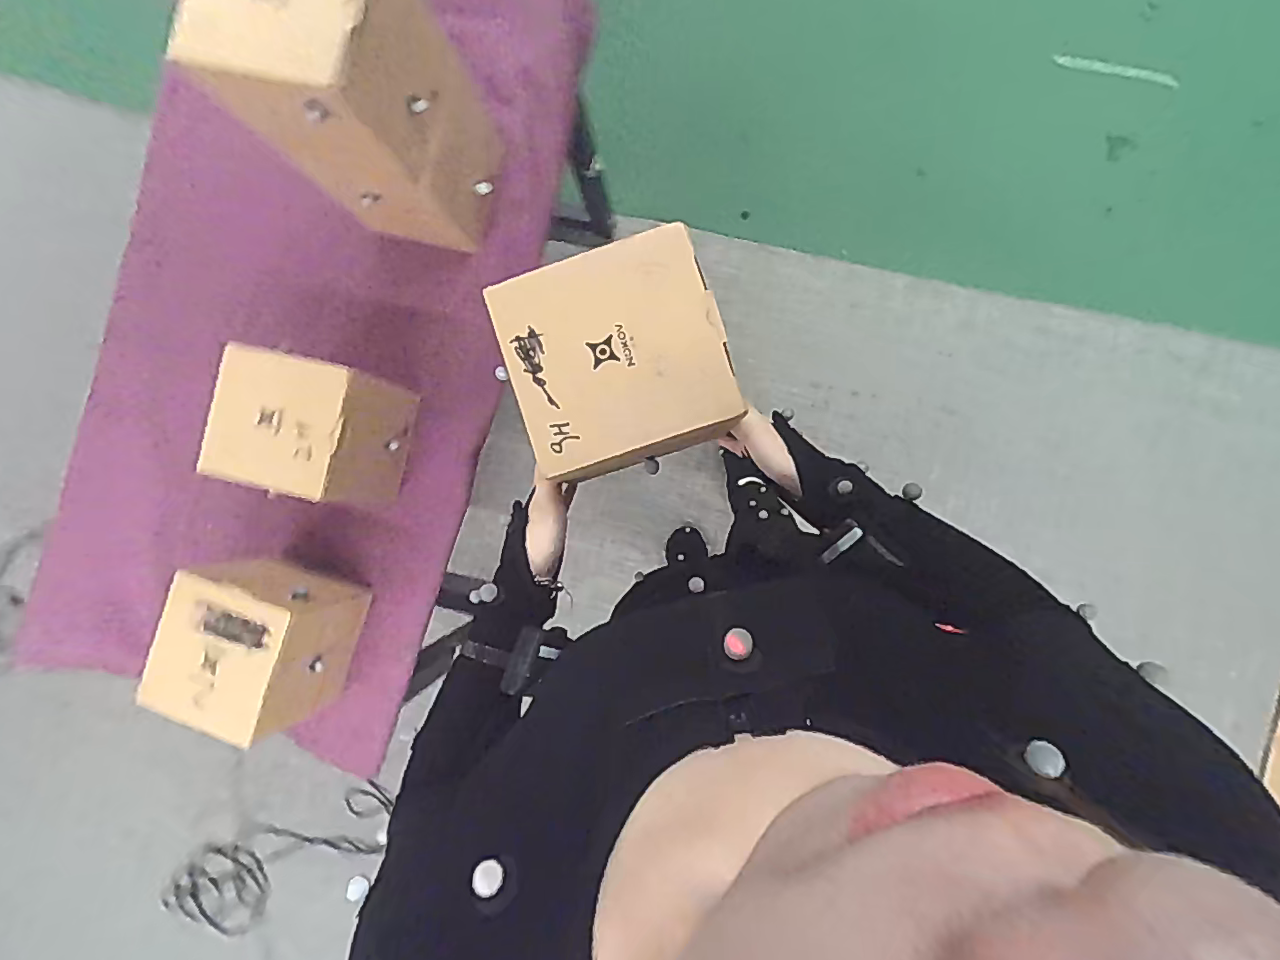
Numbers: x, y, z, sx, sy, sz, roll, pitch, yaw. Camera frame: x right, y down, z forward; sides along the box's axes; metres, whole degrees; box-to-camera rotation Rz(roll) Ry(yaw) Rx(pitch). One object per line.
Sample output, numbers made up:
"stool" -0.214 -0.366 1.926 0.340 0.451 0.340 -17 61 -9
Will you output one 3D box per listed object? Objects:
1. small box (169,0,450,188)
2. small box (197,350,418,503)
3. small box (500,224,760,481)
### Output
"small box" -0.338 -0.448 0.586 0.179 0.176 0.168 13 89 5
"small box" -0.440 -0.064 0.740 0.179 0.176 0.168 11 89 6
"small box" -0.008 -0.102 0.510 0.179 0.176 0.168 -17 86 1
